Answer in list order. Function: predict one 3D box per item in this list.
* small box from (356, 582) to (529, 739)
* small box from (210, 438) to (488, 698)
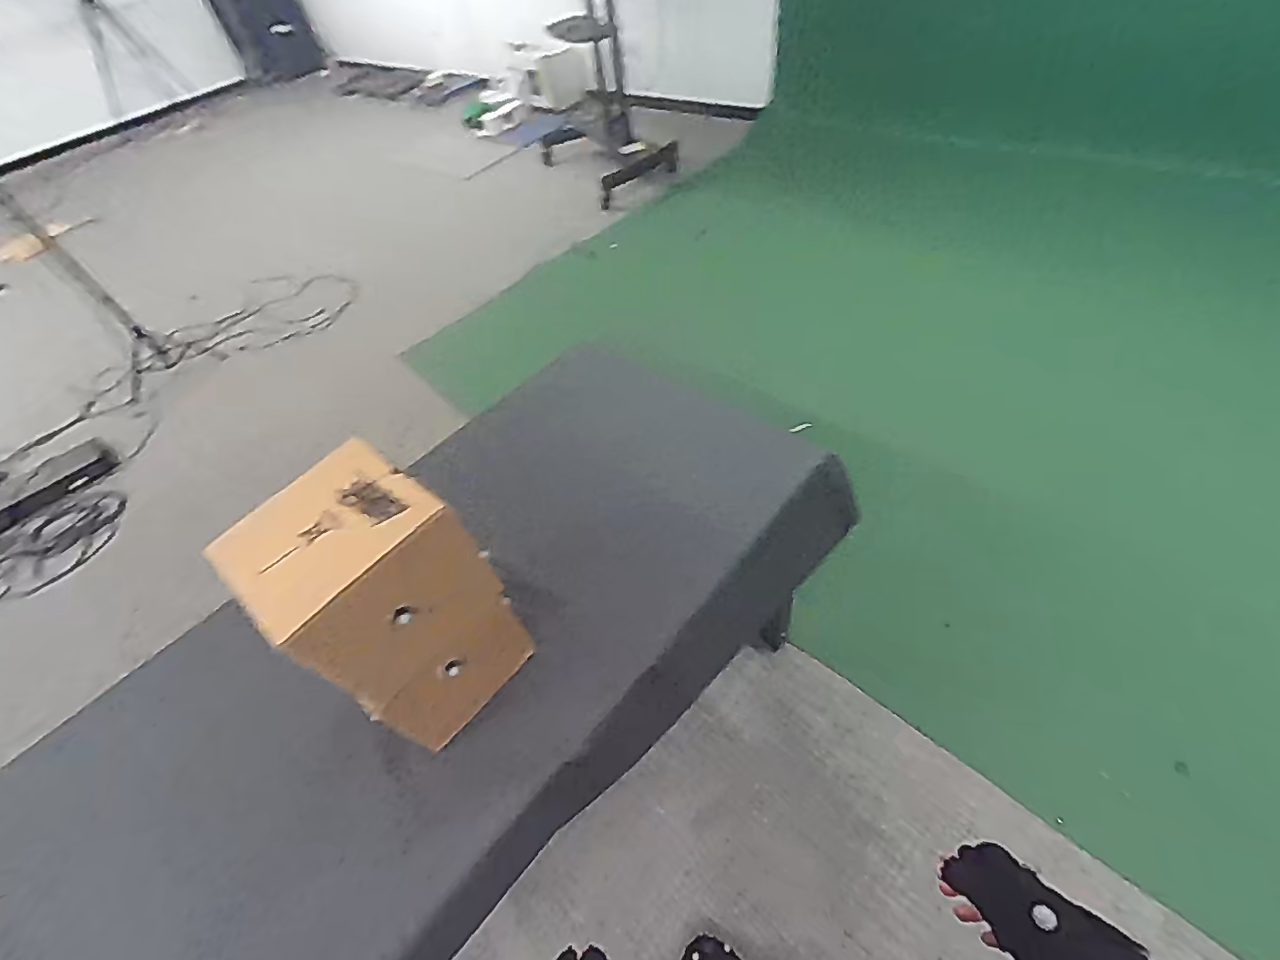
[{"bbox_3d":[-0.273,0.199,0.701,0.168,0.176,0.179,31,61,29],"label":"small box"},{"bbox_3d":[-0.286,0.093,0.576,0.168,0.176,0.179,27,60,28],"label":"small box"}]
